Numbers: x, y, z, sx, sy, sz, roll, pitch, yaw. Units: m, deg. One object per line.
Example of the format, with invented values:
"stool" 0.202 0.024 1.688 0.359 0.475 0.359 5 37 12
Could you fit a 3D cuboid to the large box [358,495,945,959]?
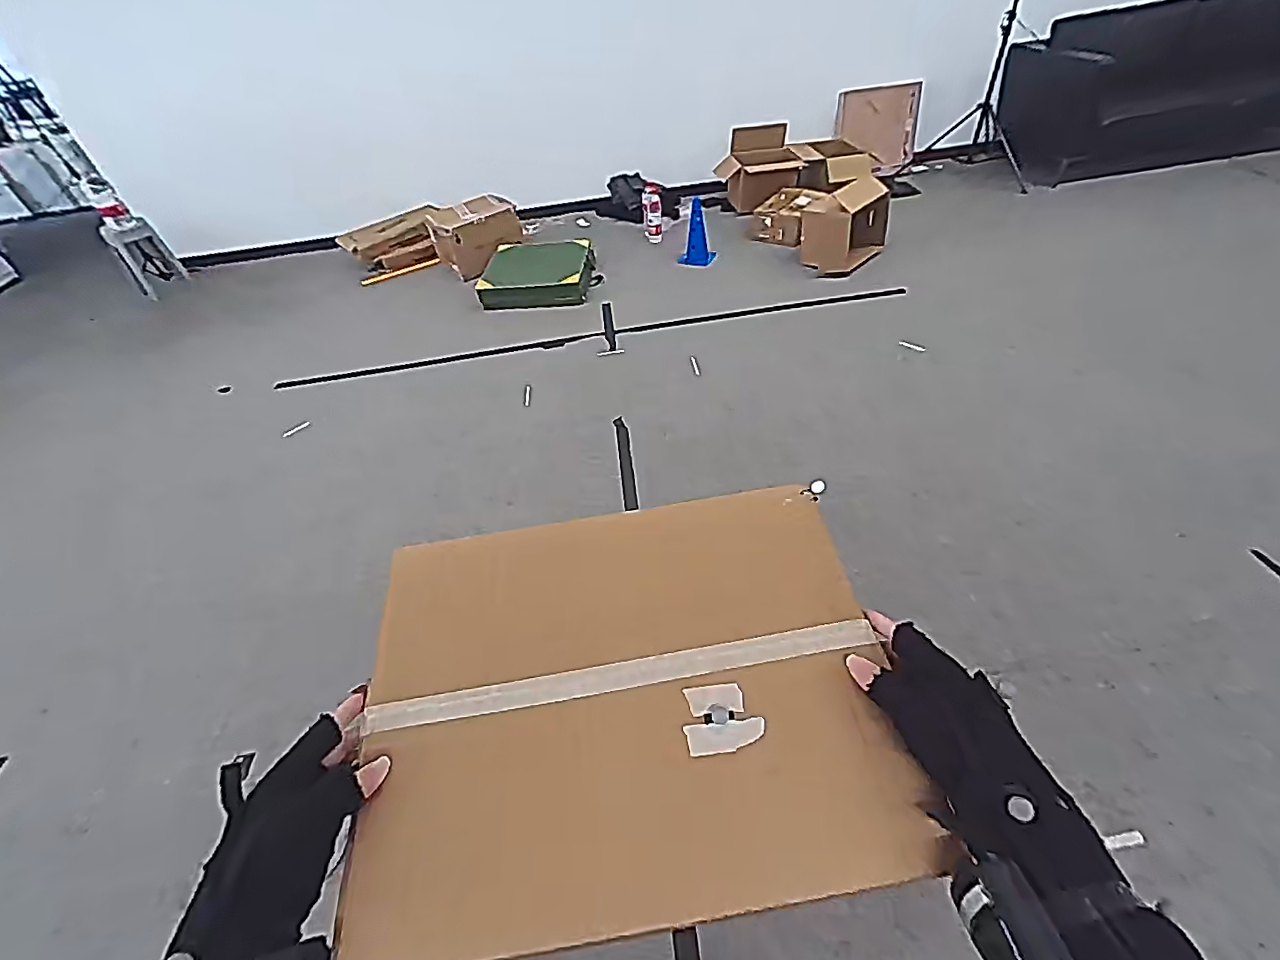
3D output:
"large box" -0.001 0.256 0.561 0.408 0.320 0.320 -9 52 -2
